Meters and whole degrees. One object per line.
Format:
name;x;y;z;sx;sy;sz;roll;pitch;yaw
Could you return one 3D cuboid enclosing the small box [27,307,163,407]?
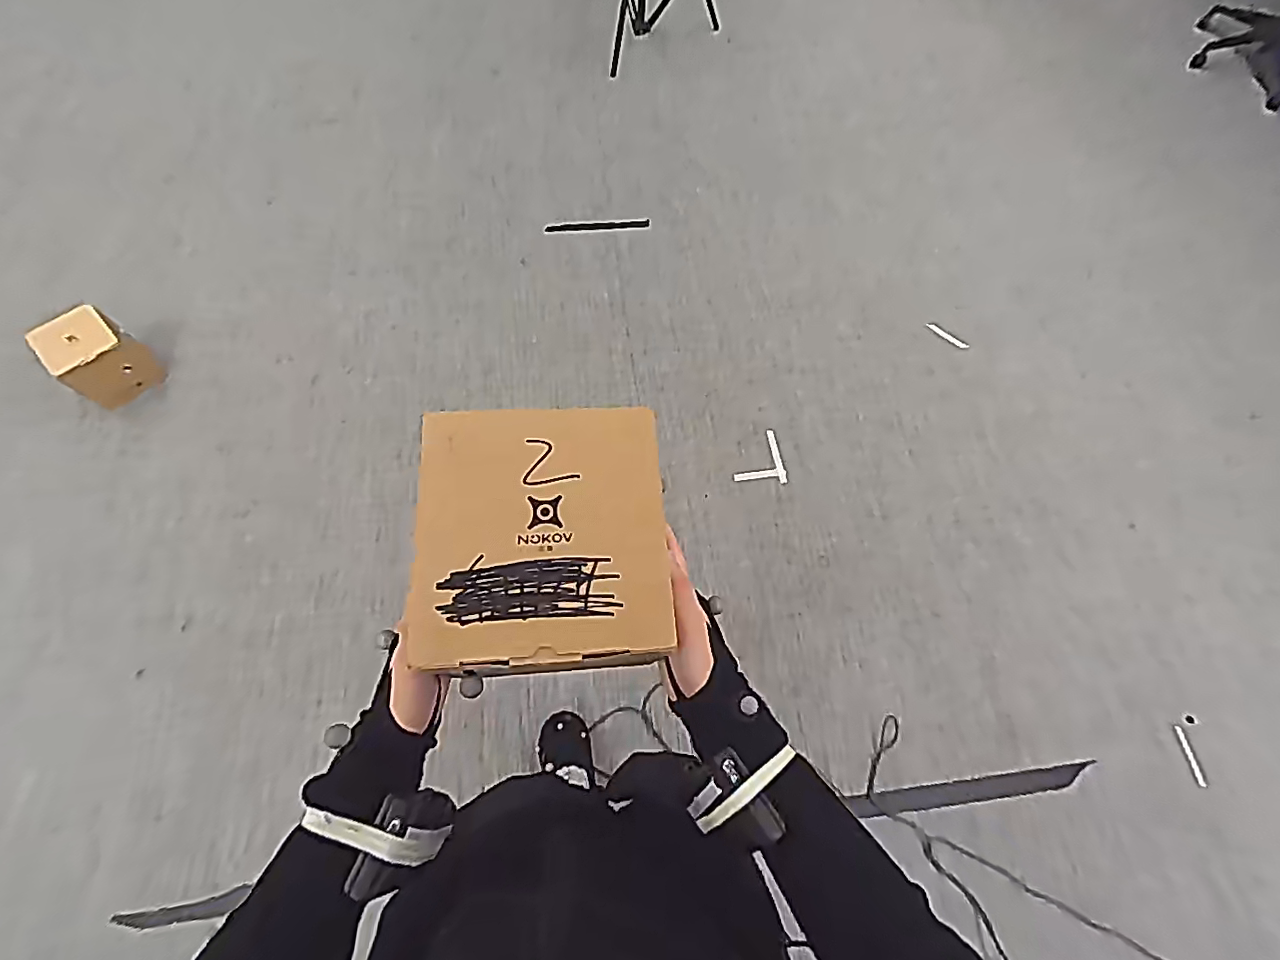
small box;-1.472;-0.324;1.474;0.179;0.176;0.168;43;70;14
